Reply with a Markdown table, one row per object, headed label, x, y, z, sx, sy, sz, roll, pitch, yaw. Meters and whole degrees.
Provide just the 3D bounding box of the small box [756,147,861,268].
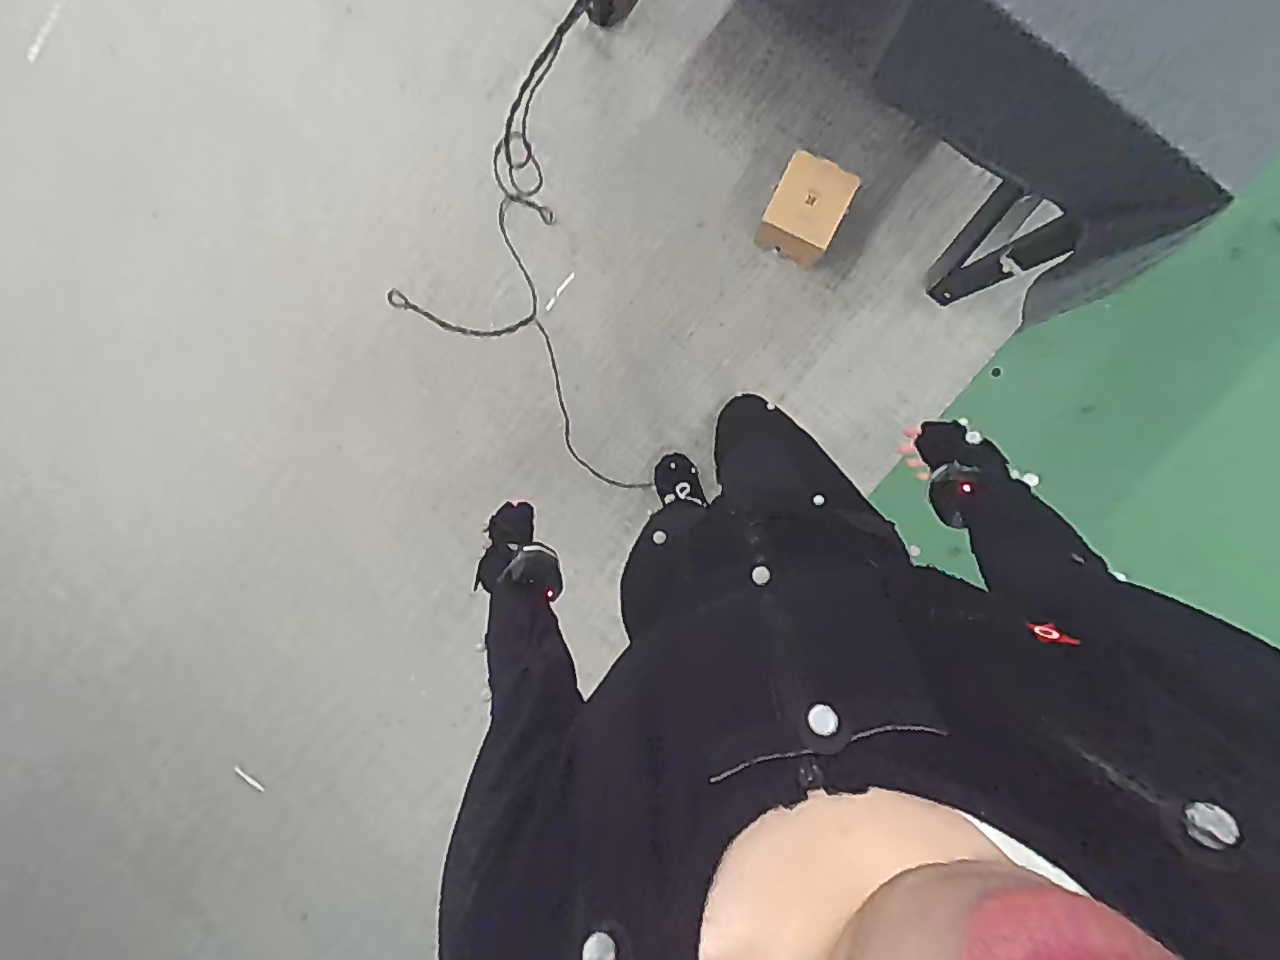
| label | x | y | z | sx | sy | sz | roll | pitch | yaw |
| --- | --- | --- | --- | --- | --- | --- | --- | --- | --- |
| small box | 0.395 | -0.647 | 1.305 | 0.168 | 0.176 | 0.179 | 26 | 97 | 1 |
